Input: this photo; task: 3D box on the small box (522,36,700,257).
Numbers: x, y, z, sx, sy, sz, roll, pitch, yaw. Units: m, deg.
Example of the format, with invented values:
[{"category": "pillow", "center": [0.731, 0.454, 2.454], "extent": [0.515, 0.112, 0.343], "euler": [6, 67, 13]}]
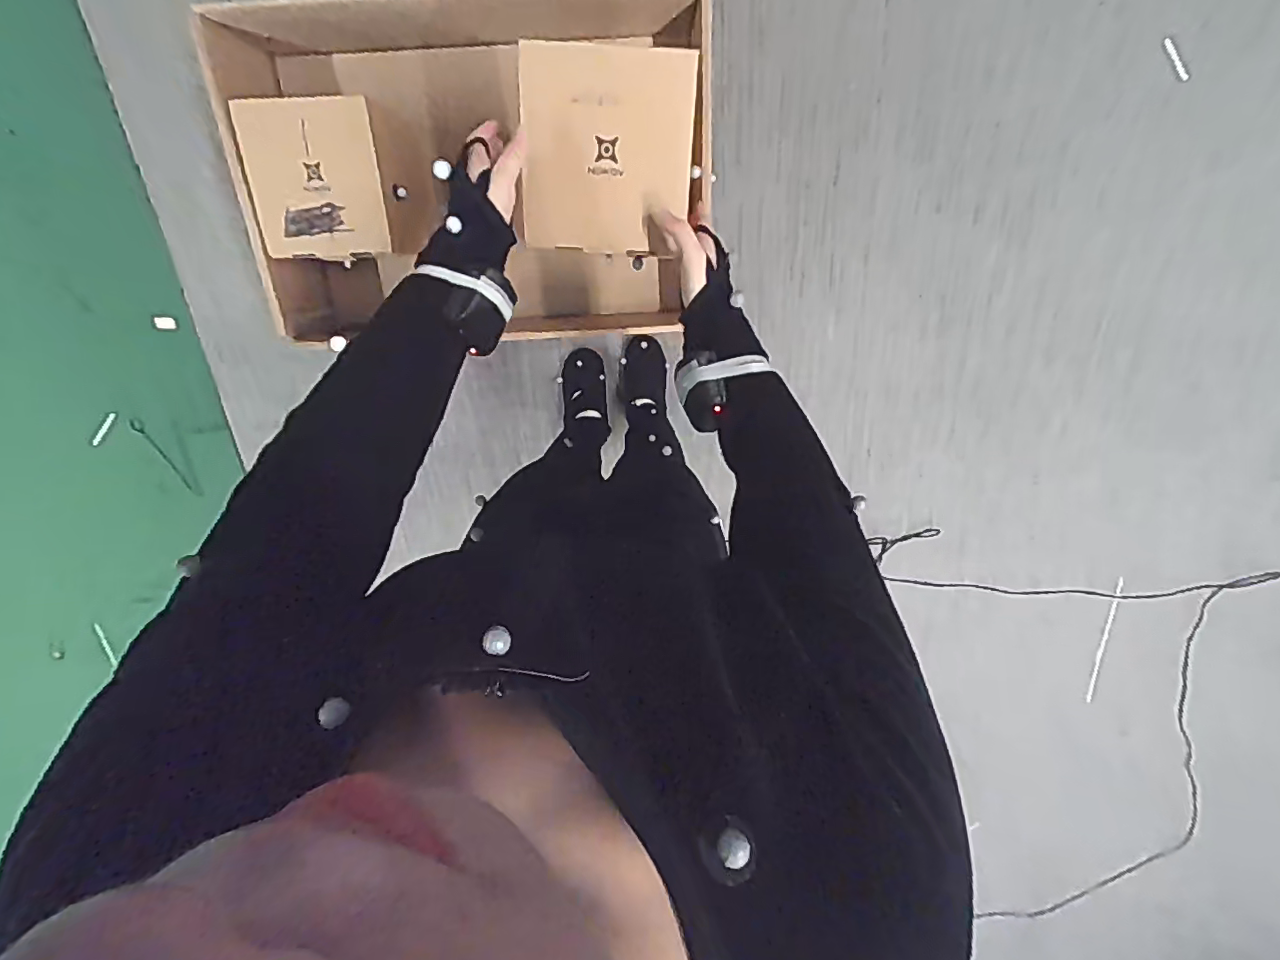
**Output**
[{"category": "small box", "center": [-0.031, -0.344, 0.593], "extent": [0.168, 0.176, 0.179], "euler": [3, 111, -2]}]
